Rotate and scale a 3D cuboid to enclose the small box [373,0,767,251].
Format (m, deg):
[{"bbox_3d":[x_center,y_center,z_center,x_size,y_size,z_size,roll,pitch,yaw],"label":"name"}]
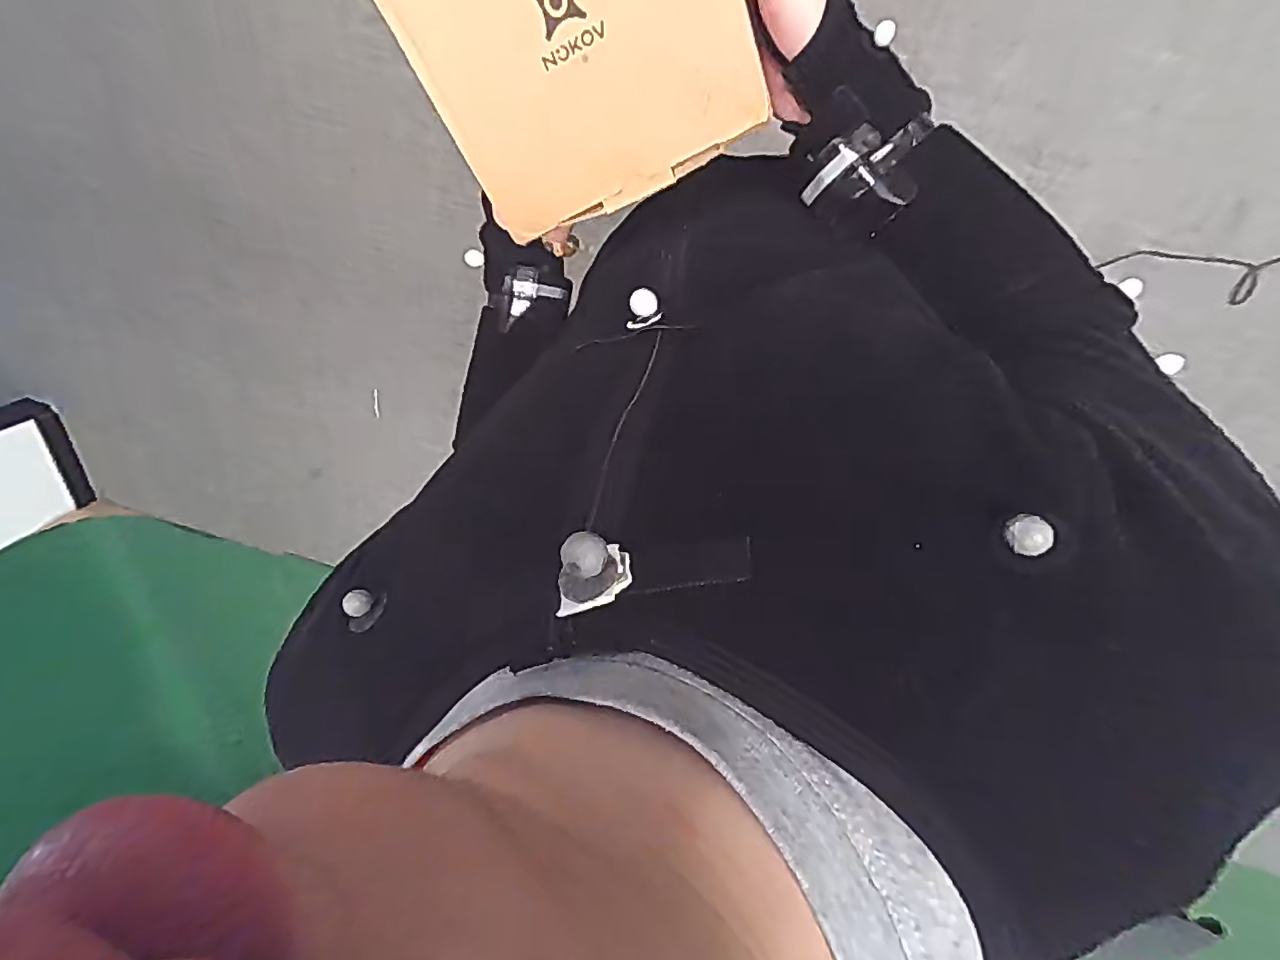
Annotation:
[{"bbox_3d":[-0.031,-0.277,0.326,0.168,0.176,0.179,-17,125,19],"label":"small box"}]
